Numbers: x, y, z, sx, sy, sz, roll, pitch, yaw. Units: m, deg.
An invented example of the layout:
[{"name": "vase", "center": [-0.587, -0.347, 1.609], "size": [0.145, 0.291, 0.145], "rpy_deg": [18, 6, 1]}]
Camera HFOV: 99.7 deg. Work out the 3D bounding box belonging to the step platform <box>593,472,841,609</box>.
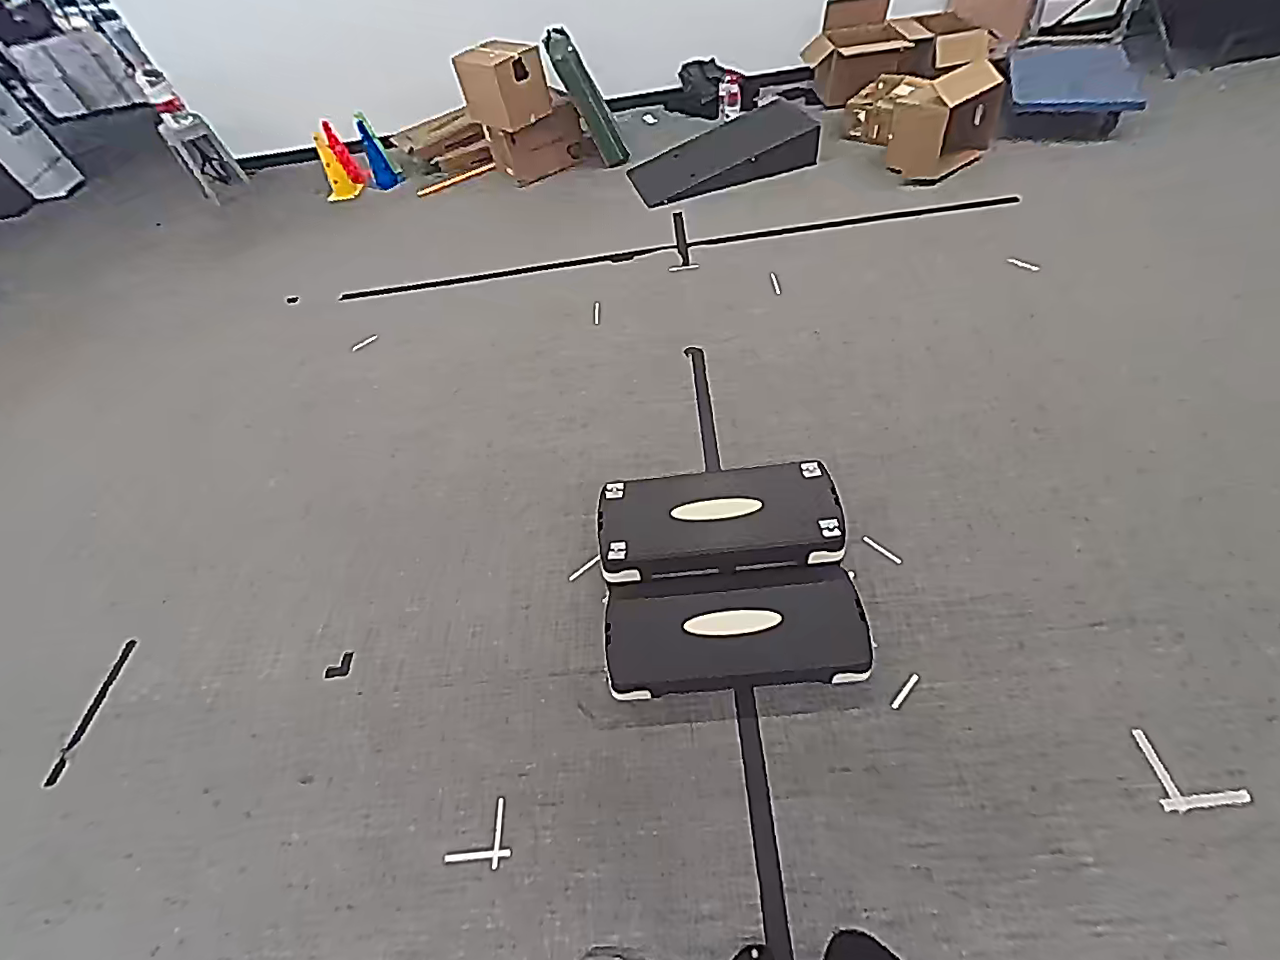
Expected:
[{"name": "step platform", "center": [0.206, 0.168, 1.540], "size": [0.684, 0.204, 0.286], "rpy_deg": [-7, 52, 3]}]
